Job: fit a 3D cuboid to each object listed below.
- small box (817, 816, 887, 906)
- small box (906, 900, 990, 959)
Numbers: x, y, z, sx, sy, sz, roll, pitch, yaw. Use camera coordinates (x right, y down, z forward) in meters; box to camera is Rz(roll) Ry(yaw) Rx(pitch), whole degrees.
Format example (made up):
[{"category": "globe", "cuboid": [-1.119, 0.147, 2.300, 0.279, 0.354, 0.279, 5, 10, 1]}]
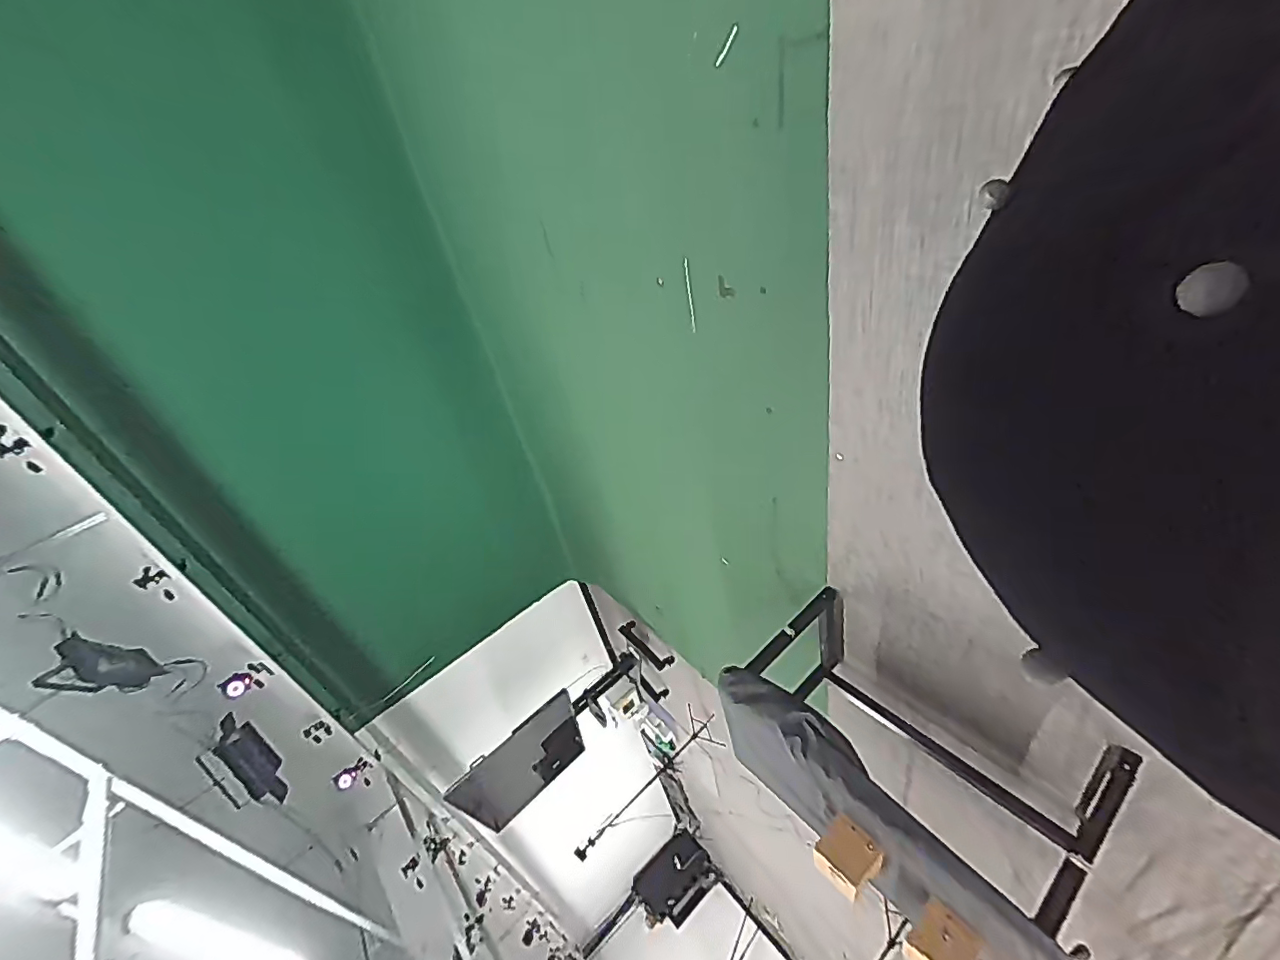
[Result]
[{"category": "small box", "cuboid": [0.740, 1.321, 1.885, 0.168, 0.176, 0.179, 31, 146, 44]}, {"category": "small box", "cuboid": [0.948, 1.453, 1.664, 0.168, 0.176, 0.179, 28, 143, 47]}]
